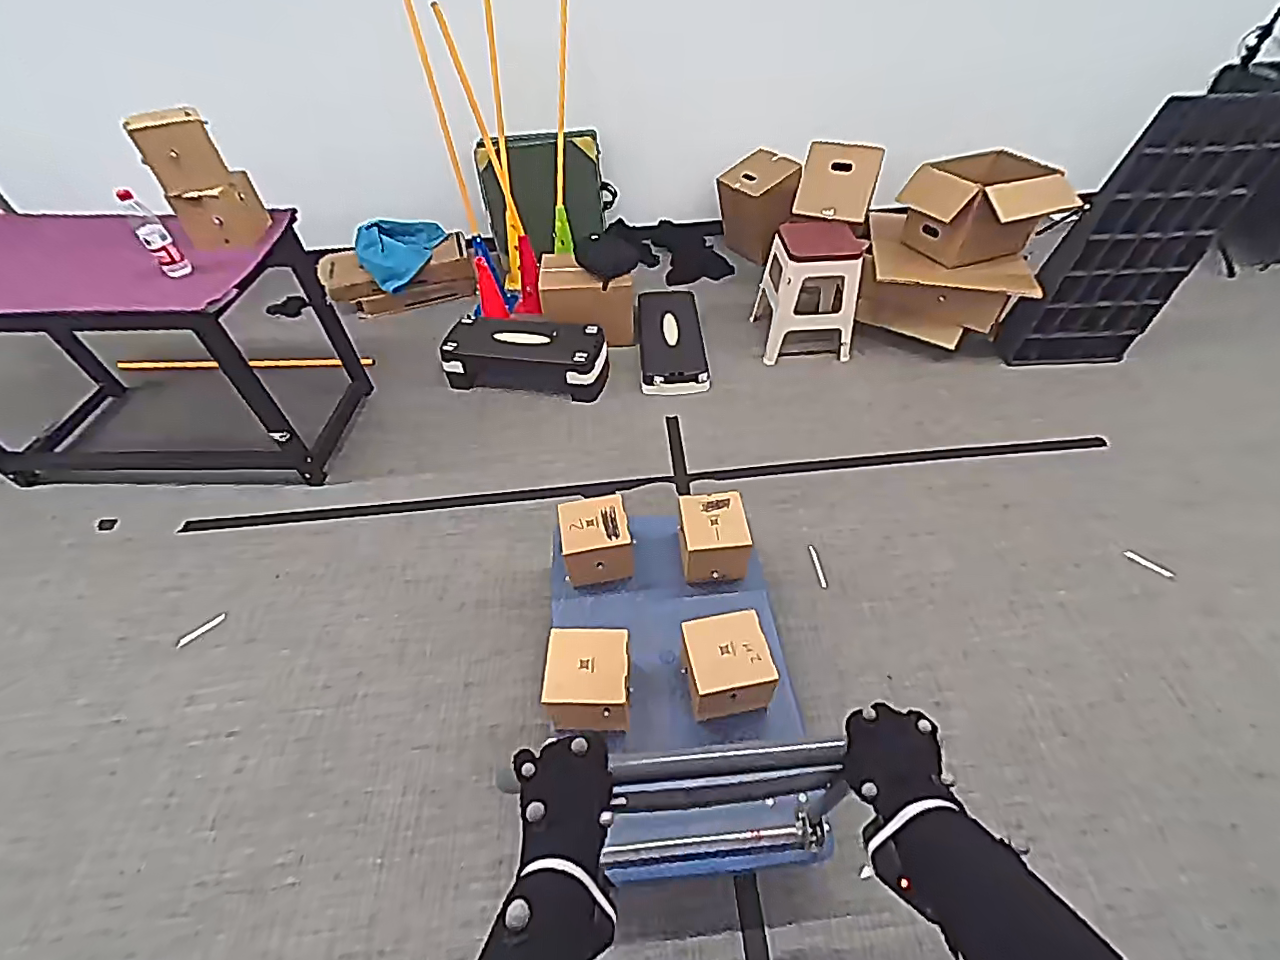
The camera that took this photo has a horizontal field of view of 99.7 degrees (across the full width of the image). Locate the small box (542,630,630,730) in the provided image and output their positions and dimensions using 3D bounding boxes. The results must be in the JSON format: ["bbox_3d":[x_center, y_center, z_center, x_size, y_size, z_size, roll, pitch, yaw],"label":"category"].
[{"bbox_3d":[-0.113,0.453,1.221,0.179,0.176,0.168,0,48,0],"label":"small box"}]

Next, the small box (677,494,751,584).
[{"bbox_3d":[0.193,0.160,1.466,0.168,0.176,0.179,-5,50,-2],"label":"small box"}]

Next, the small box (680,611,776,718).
[{"bbox_3d":[0.192,0.424,1.233,0.179,0.176,0.168,-9,49,-6],"label":"small box"}]
